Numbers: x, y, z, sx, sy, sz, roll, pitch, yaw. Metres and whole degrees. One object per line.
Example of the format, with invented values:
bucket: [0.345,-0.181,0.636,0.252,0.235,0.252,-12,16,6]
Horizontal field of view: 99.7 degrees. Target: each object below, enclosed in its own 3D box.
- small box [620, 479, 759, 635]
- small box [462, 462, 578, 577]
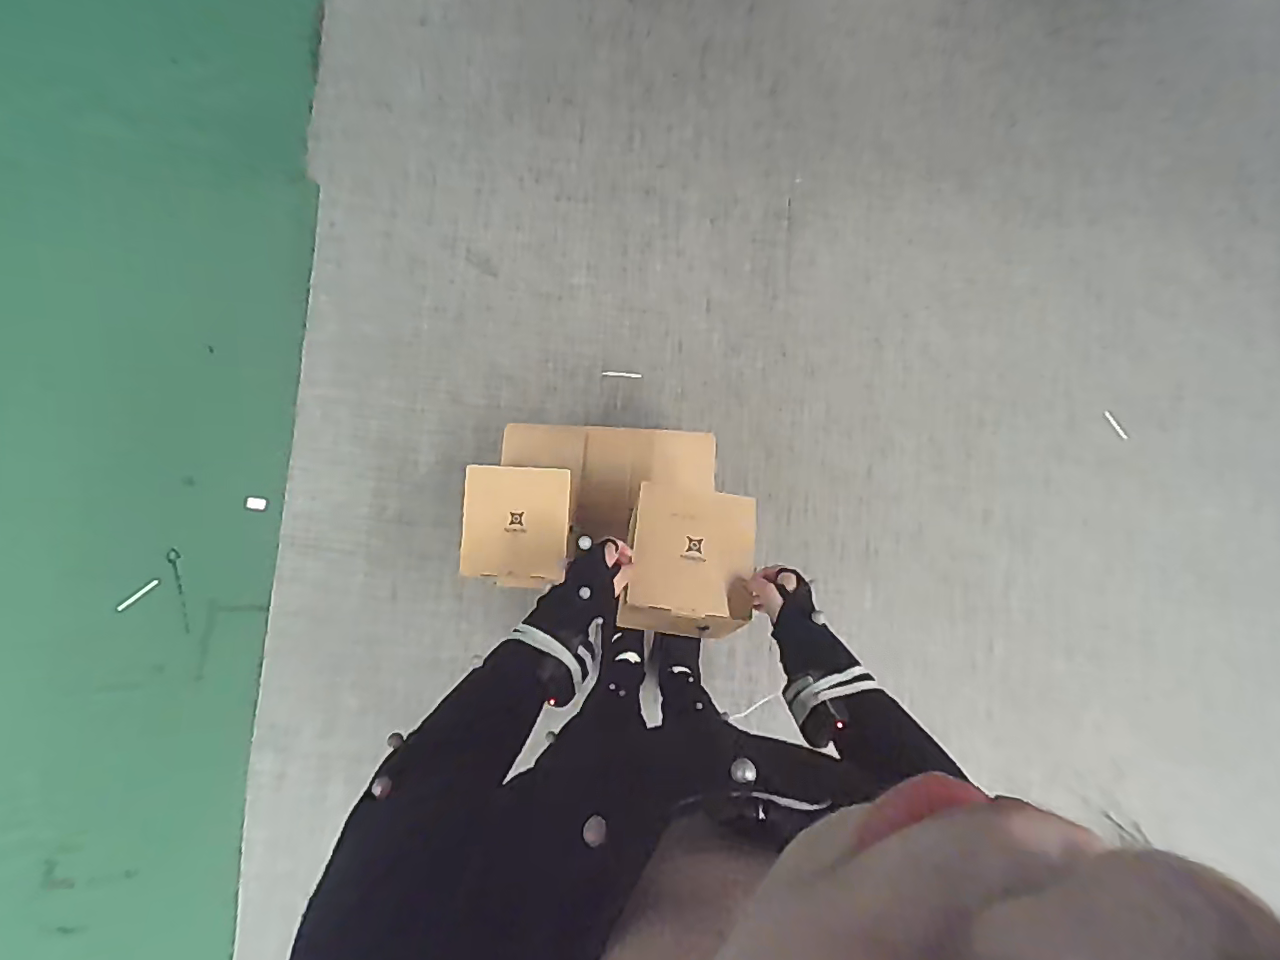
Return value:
small box: [0.065,0.120,0.784,0.168,0.176,0.179,9,66,-2]
small box: [-0.196,0.066,0.927,0.168,0.176,0.179,3,88,-2]
